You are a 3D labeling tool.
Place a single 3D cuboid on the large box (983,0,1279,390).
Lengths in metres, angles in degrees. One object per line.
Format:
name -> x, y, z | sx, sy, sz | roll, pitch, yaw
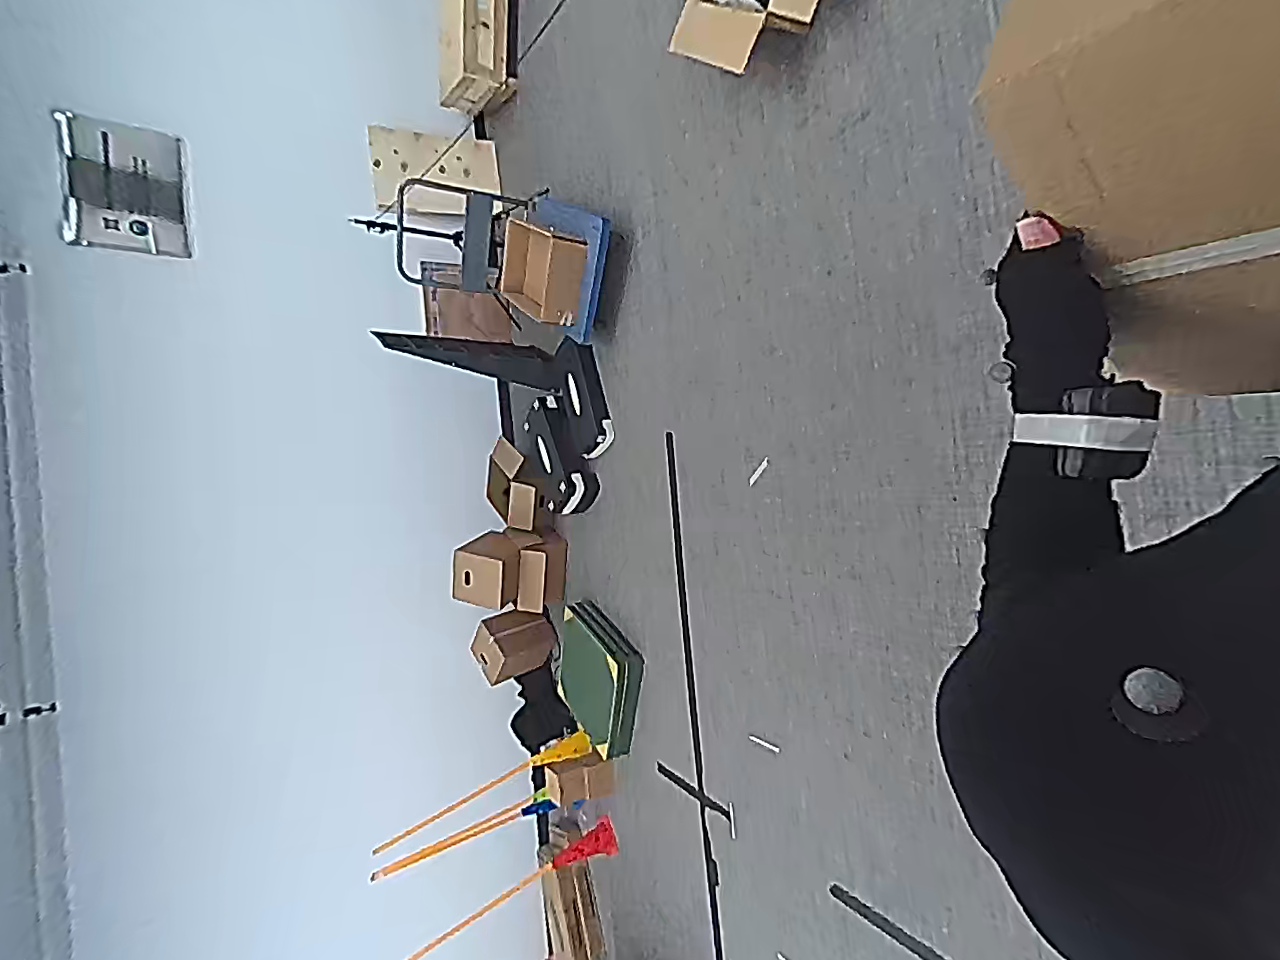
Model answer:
large box -> 0.464, -0.269, 0.243 | 0.408, 0.320, 0.320 | 4, 68, 57
